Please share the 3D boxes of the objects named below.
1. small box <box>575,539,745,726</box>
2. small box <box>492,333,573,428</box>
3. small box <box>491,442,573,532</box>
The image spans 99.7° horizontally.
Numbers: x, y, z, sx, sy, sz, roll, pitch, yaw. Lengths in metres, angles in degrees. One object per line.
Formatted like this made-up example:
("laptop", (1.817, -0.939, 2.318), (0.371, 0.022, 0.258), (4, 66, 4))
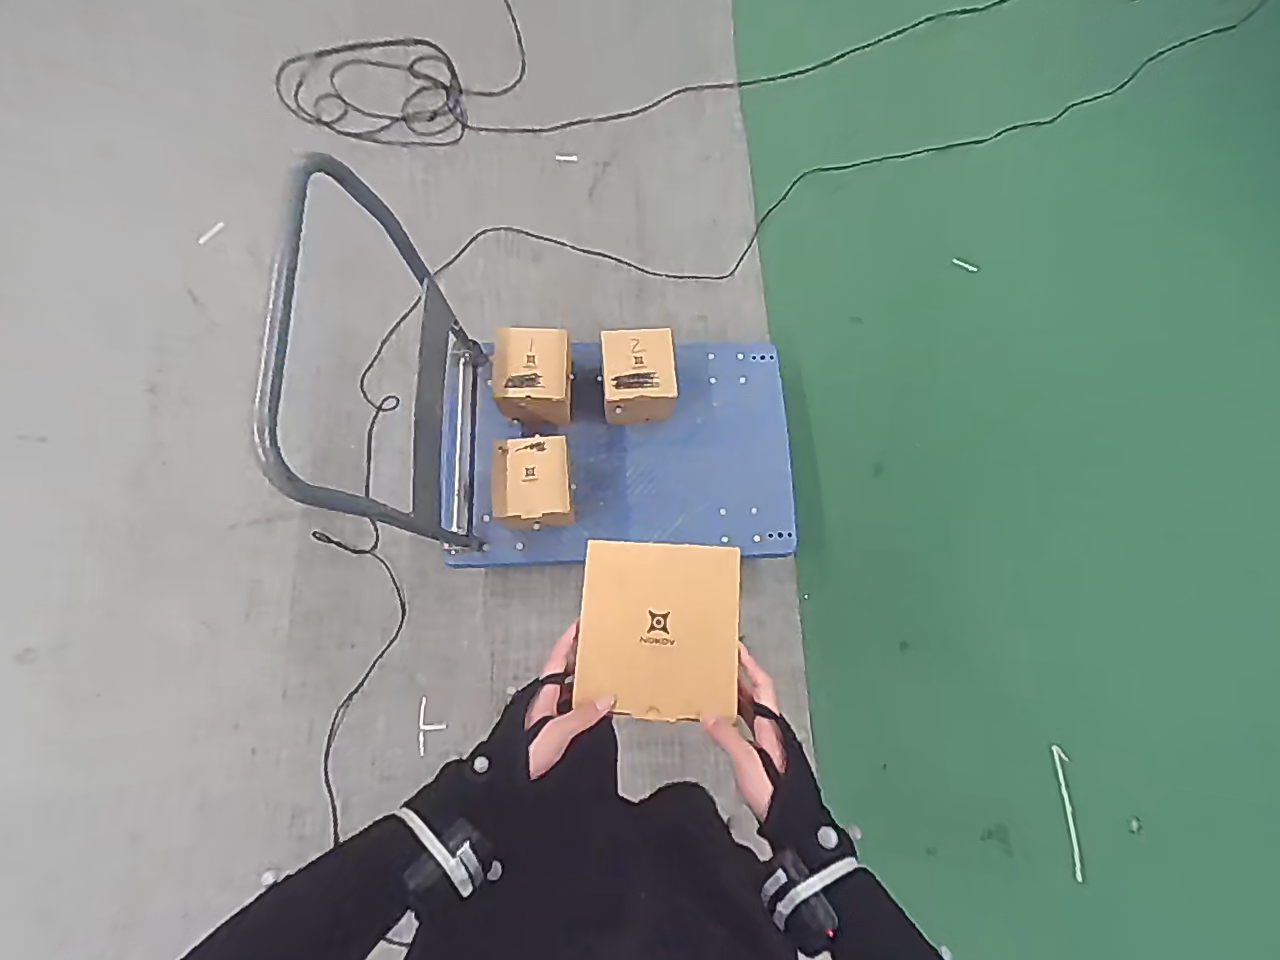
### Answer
("small box", (0.029, 0.173, 0.628), (0.168, 0.176, 0.179), (2, 74, 6))
("small box", (-0.250, -0.232, 1.300), (0.168, 0.176, 0.179), (2, 75, -4))
("small box", (-0.242, 0.023, 1.237), (0.168, 0.176, 0.179), (-3, 77, -5))
